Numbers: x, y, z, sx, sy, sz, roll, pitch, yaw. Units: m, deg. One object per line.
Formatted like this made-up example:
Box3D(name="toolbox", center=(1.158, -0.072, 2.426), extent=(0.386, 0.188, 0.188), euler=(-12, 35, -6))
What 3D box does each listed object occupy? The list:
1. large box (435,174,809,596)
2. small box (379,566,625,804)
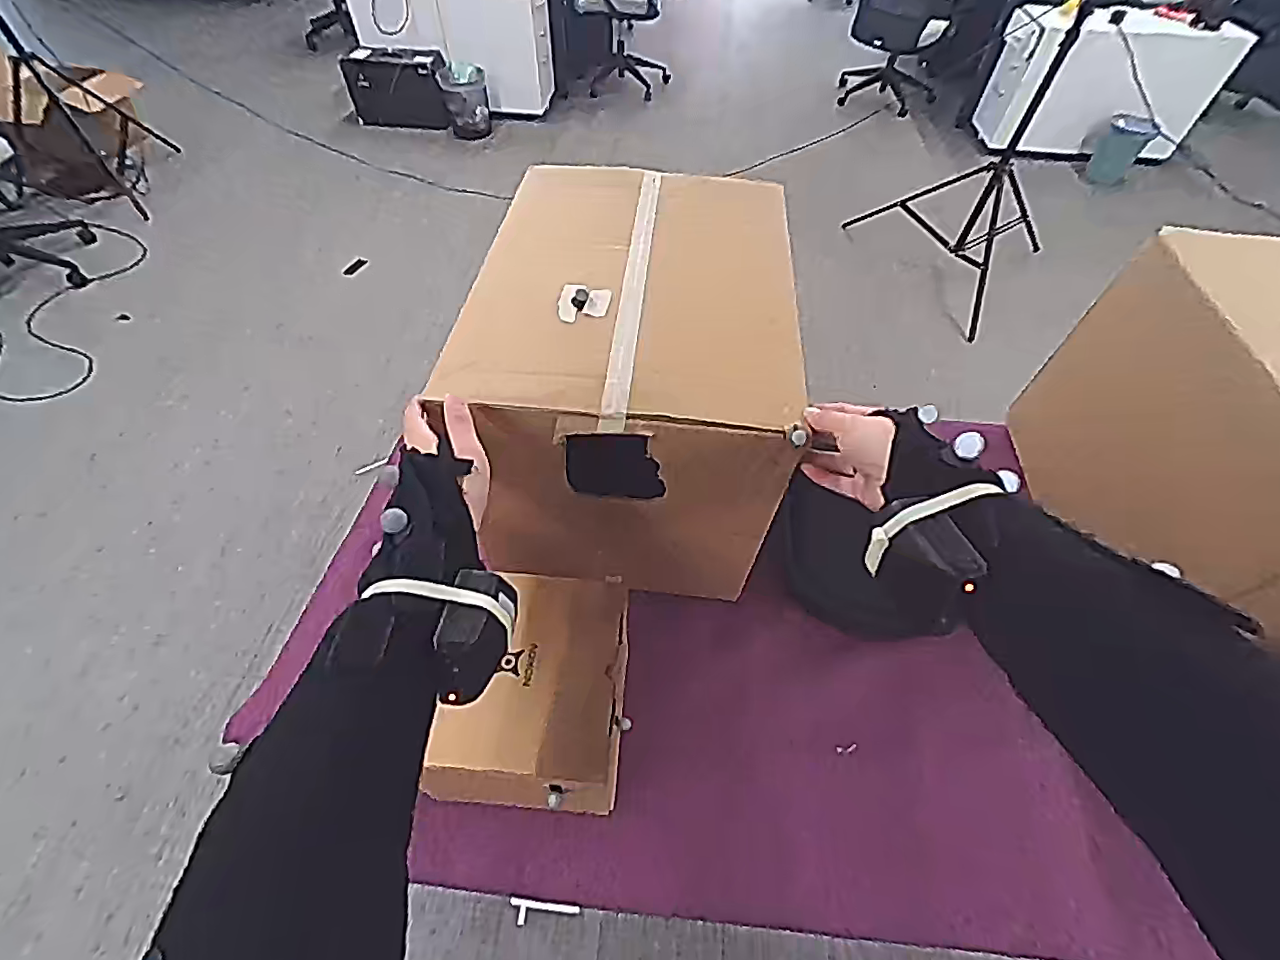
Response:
Box3D(name="large box", center=(-0.007, -0.114, 0.667), extent=(0.320, 0.320, 0.408), euler=(5, 55, 2))
Box3D(name="small box", center=(-0.109, 0.199, 0.515), extent=(0.179, 0.176, 0.168), euler=(4, 52, 0))
